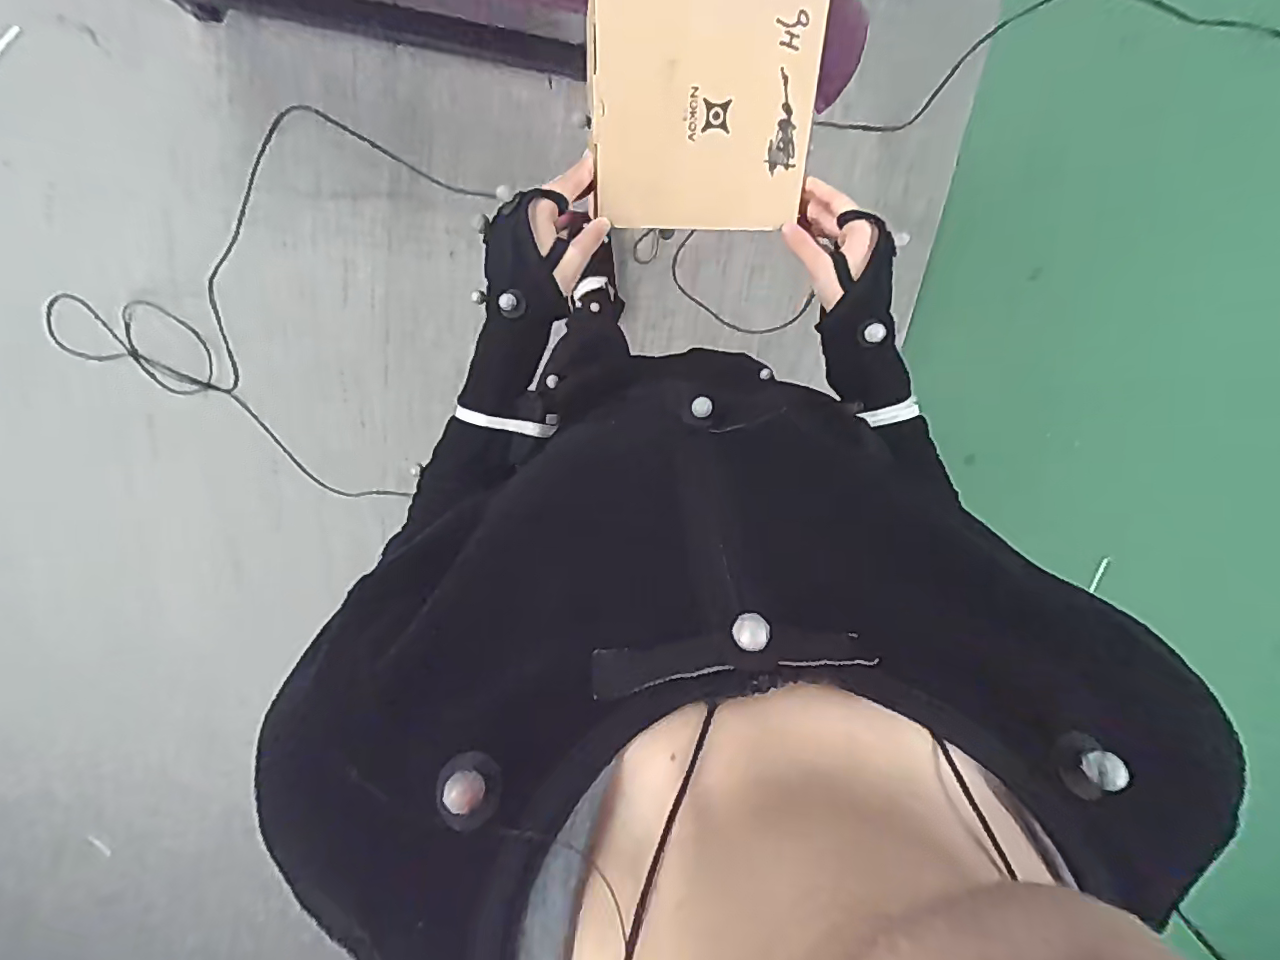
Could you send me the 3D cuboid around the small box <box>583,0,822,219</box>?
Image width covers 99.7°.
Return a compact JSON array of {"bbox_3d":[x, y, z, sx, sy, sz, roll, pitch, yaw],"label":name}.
[{"bbox_3d":[0.039,-0.332,0.489,0.179,0.176,0.168,0,117,-5],"label":"small box"}]
